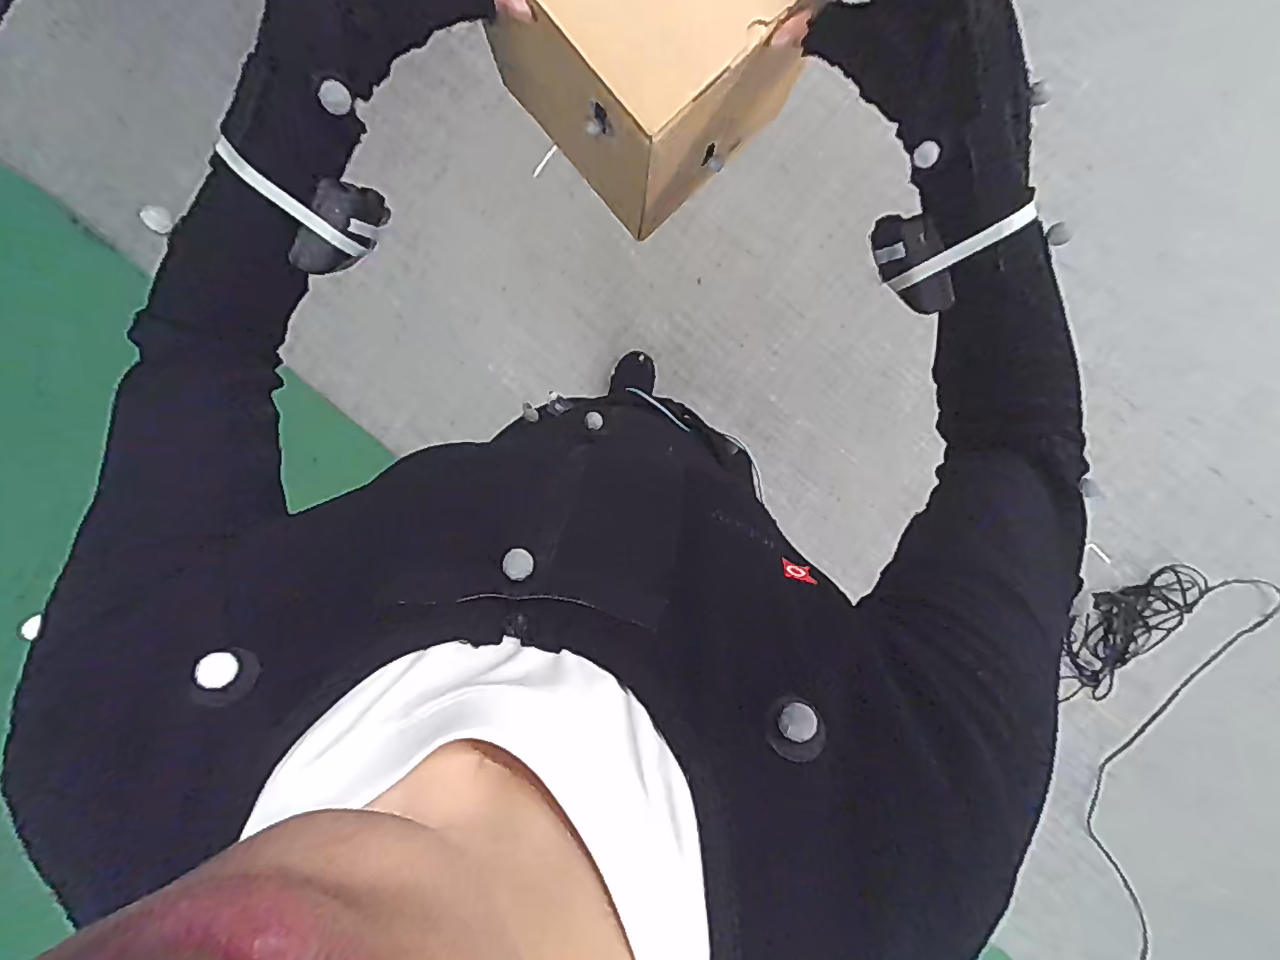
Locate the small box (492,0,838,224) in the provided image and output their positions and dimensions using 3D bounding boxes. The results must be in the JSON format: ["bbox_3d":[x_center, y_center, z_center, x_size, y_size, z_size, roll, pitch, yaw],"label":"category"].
[{"bbox_3d":[0.008,-0.322,0.380,0.168,0.176,0.179,-41,97,2],"label":"small box"}]
